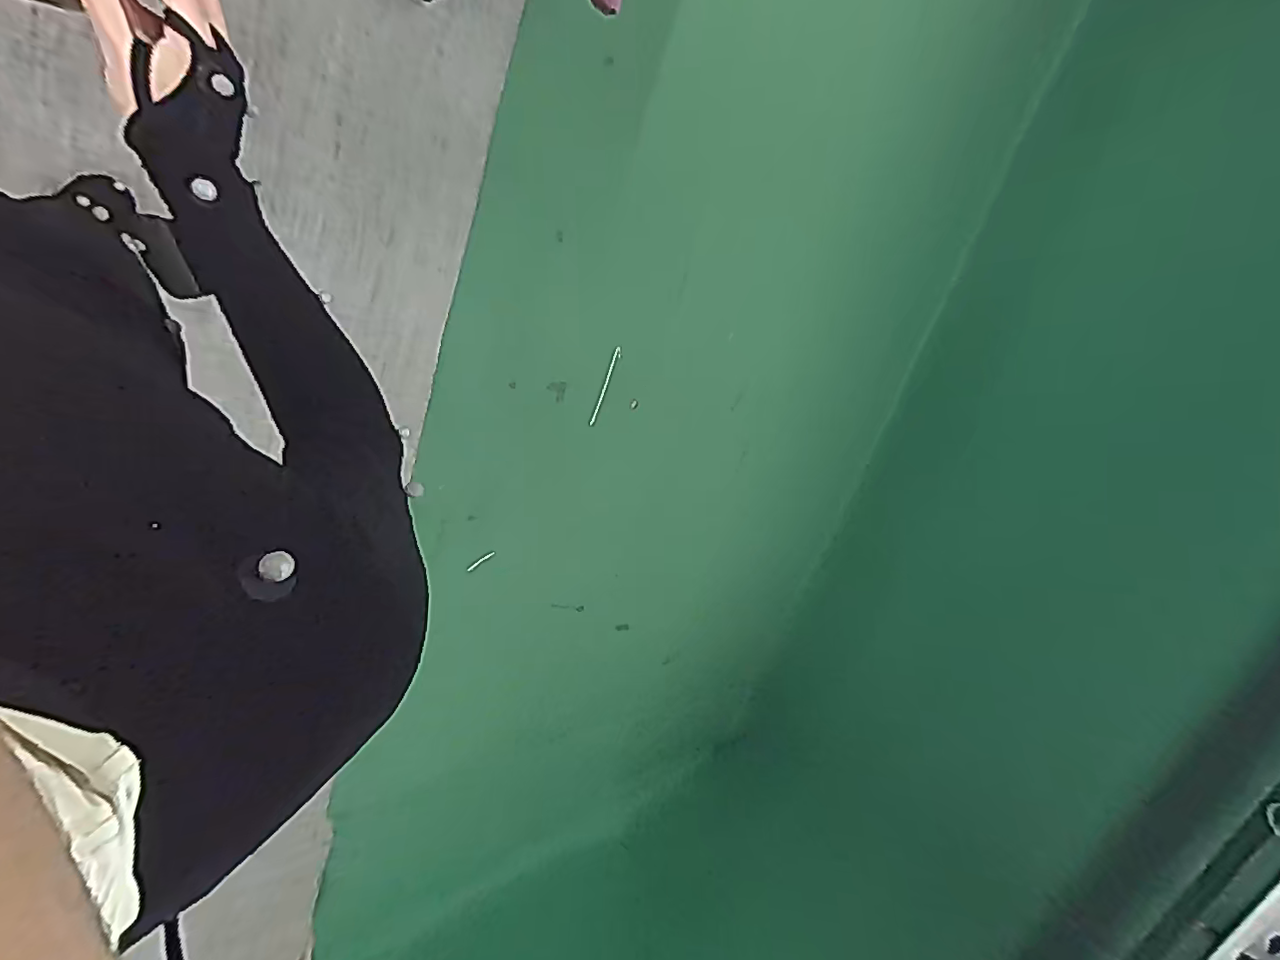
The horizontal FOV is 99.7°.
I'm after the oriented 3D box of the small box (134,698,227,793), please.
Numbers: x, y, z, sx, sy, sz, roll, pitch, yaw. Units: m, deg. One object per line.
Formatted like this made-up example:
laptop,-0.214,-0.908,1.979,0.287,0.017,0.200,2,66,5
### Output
small box,-1.315,0.742,1.546,0.179,0.176,0.168,8,109,-47
